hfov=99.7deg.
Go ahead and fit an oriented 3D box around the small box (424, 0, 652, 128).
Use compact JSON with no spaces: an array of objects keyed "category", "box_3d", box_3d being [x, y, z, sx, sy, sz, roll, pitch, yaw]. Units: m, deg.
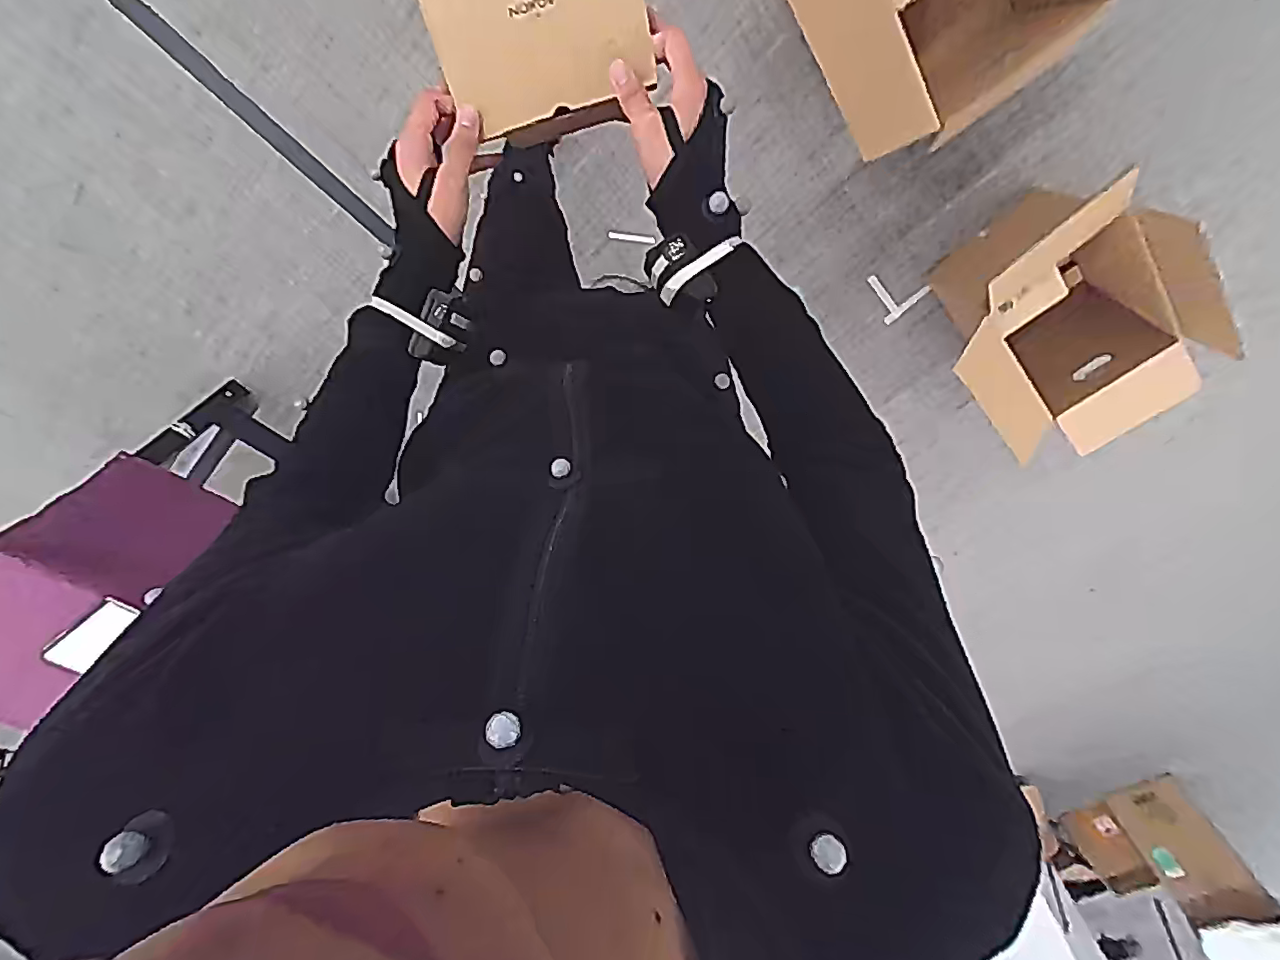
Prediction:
[{"category":"small box","box_3d":[-0.087,-0.430,0.462,0.168,0.176,0.179,-12,126,7]}]
